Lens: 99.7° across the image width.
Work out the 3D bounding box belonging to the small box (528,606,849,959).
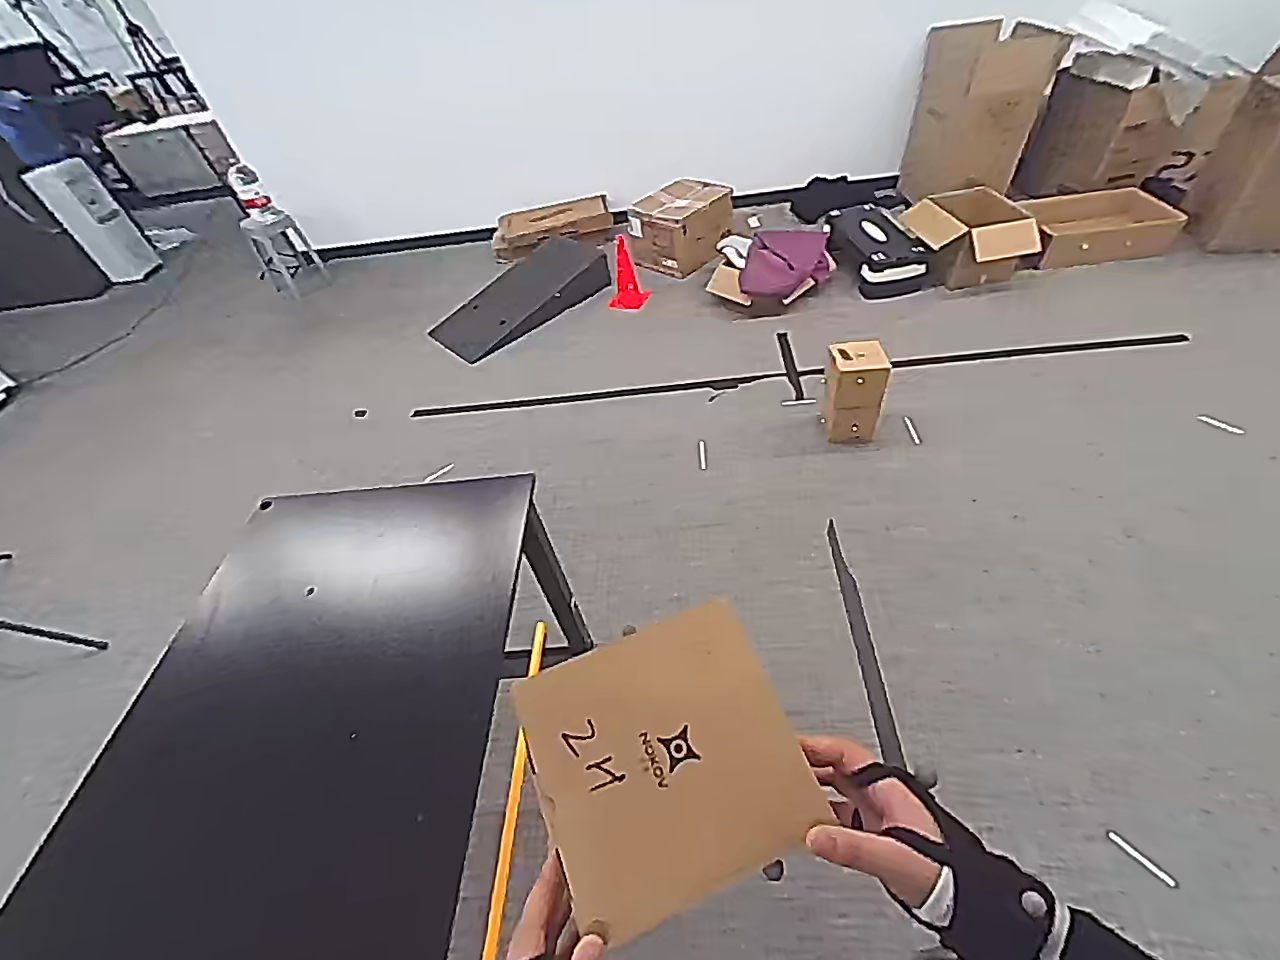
[{"bbox_3d":[0.025,0.225,0.436,0.179,0.176,0.168,-19,63,-11],"label":"small box"}]

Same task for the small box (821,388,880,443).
[{"bbox_3d":[0.797,-0.253,2.062,0.168,0.176,0.179,-3,48,7],"label":"small box"}]

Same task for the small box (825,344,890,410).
[{"bbox_3d":[0.771,-0.366,1.943,0.179,0.176,0.168,-4,47,5],"label":"small box"}]
